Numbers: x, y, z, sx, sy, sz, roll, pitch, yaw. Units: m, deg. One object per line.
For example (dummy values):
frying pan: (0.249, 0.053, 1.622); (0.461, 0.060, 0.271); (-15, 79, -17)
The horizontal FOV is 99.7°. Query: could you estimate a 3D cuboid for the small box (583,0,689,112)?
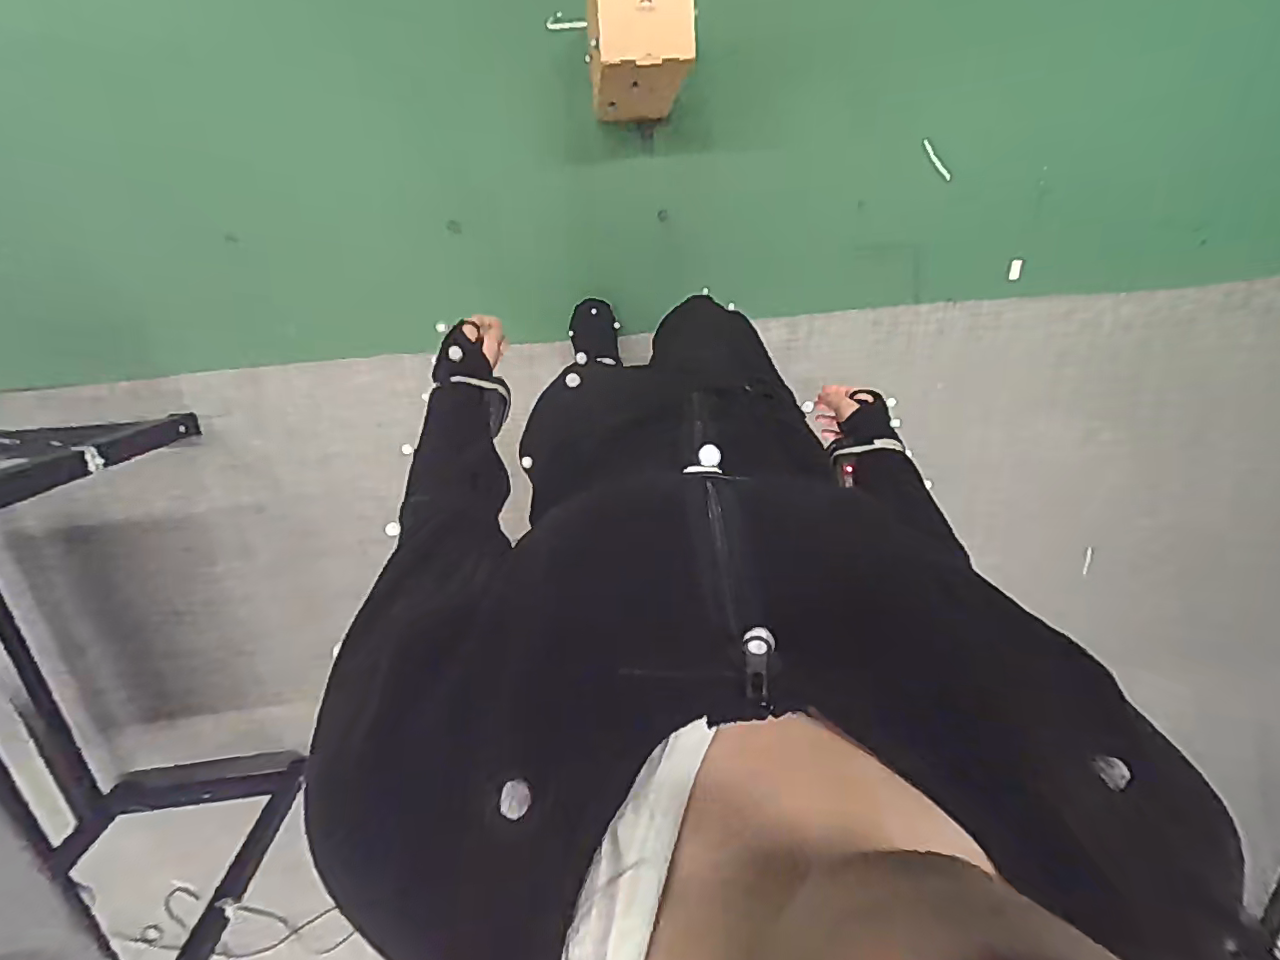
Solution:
small box: (-0.012, -0.801, 0.982); (0.168, 0.176, 0.179); (-7, 108, -6)
